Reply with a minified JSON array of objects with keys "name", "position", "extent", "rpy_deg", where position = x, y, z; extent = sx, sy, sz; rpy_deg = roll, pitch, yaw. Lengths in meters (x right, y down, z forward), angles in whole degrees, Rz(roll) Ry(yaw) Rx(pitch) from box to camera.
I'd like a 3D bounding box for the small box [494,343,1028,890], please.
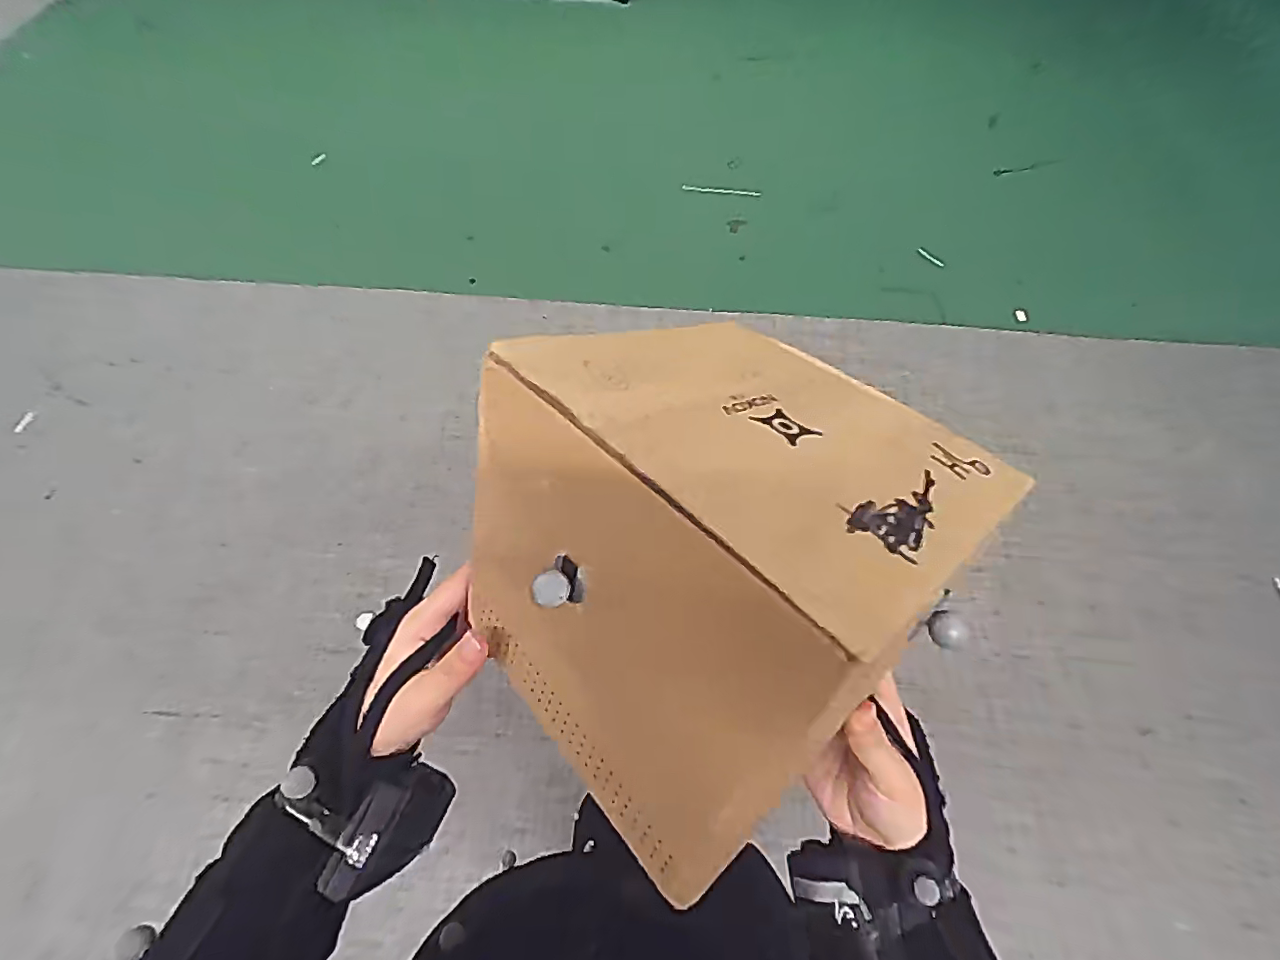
[{"name":"small box","position":[0.040,0.048,0.275],"extent":[0.168,0.176,0.179],"rpy_deg":[-21,47,-40]}]
